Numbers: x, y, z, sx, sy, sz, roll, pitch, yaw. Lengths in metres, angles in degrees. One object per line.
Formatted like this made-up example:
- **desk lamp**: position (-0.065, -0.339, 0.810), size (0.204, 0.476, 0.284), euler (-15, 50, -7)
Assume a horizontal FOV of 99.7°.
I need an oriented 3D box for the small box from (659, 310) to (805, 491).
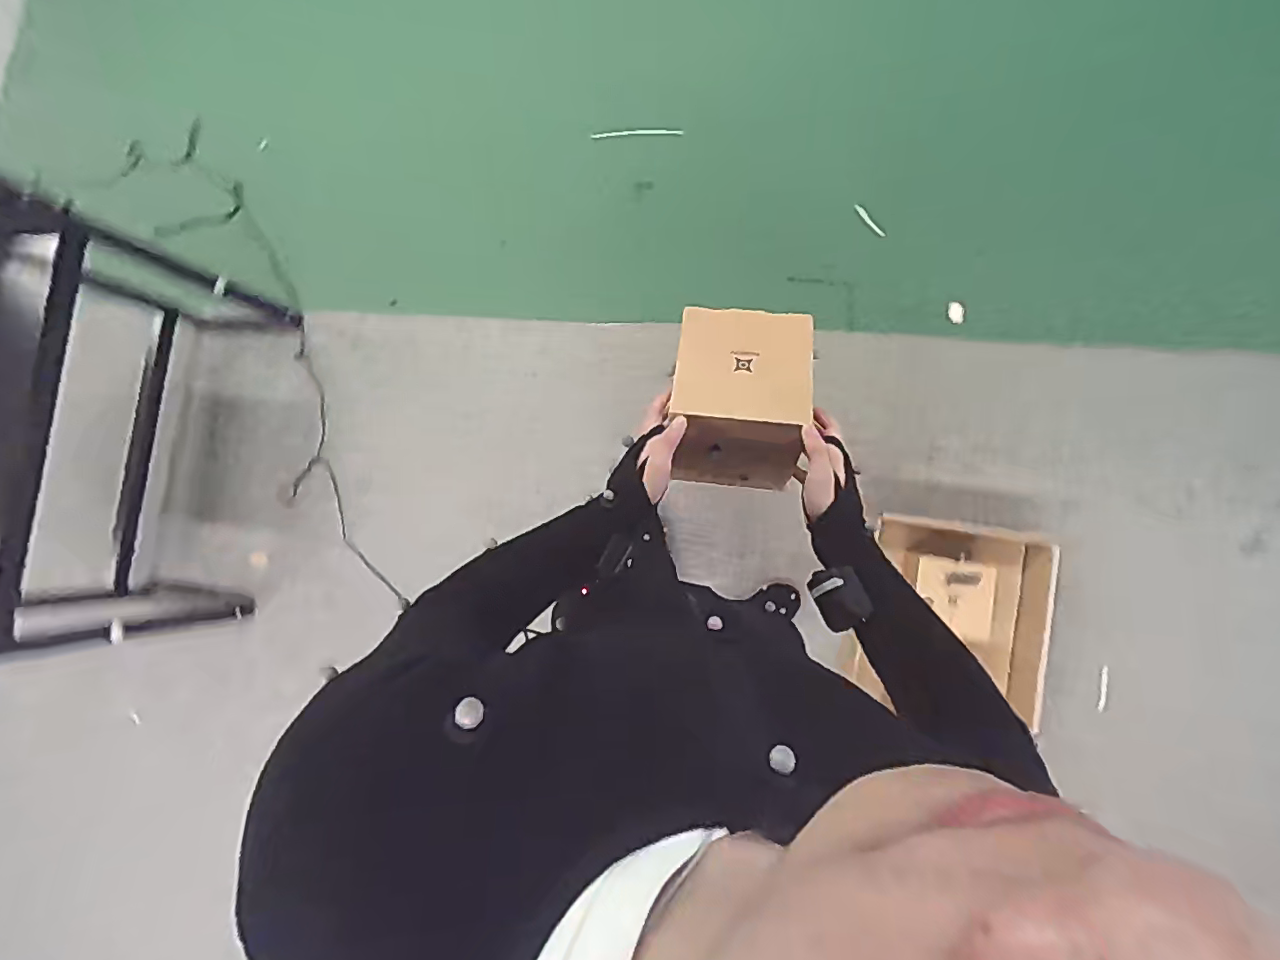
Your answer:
- **small box**: position (0.122, -0.101, 0.724), size (0.168, 0.176, 0.179), euler (6, 61, 7)
